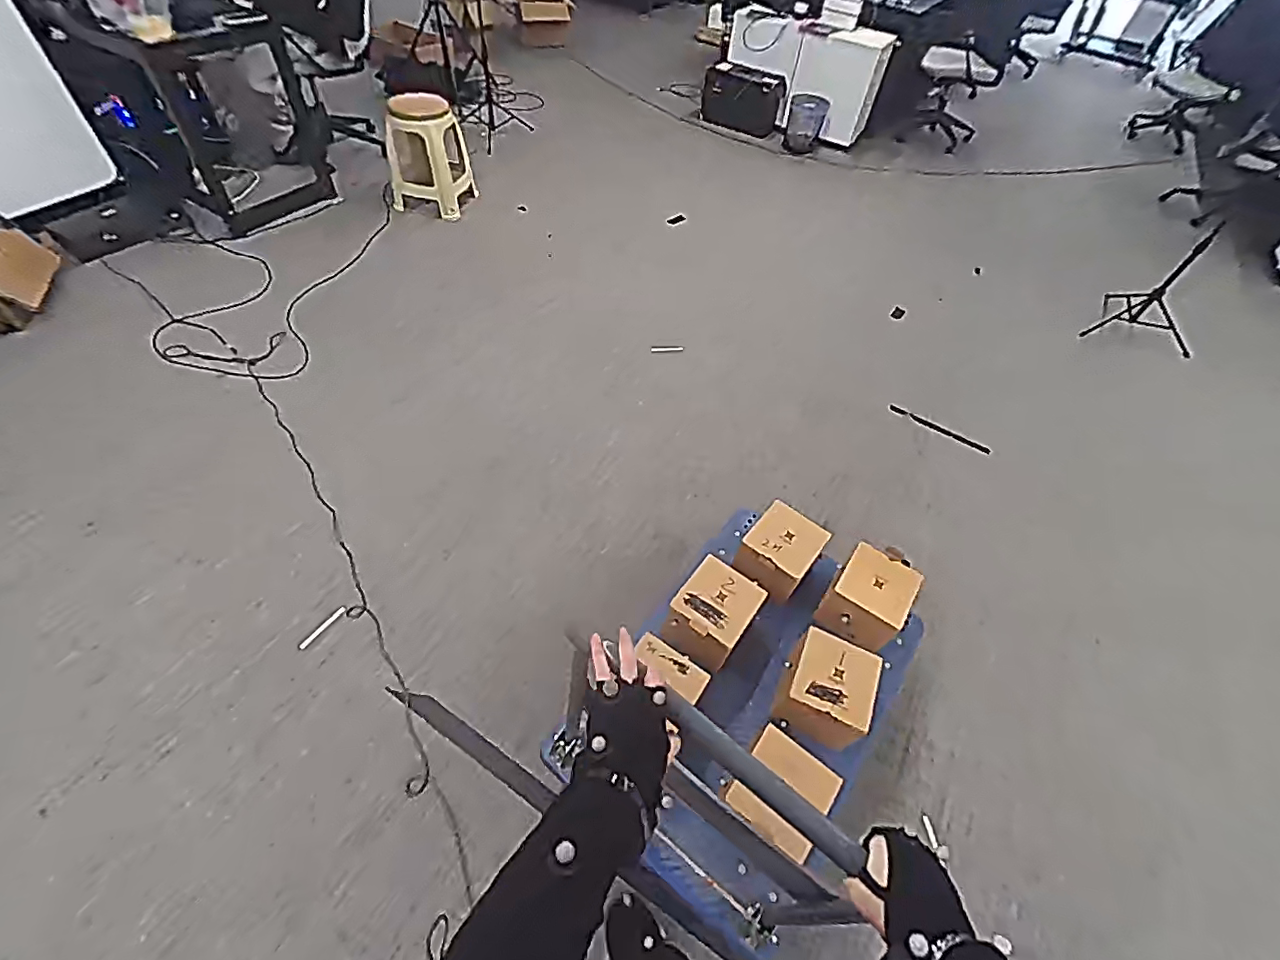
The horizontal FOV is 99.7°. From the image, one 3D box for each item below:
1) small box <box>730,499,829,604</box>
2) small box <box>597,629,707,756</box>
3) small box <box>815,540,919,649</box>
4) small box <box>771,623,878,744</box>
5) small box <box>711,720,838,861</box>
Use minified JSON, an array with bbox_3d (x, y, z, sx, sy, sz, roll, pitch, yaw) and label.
[{"bbox_3d":[0.357,0.190,1.418,0.168,0.176,0.179,36,58,20],"label":"small box"},{"bbox_3d":[0.022,0.464,1.170,0.168,0.176,0.179,32,56,16],"label":"small box"},{"bbox_3d":[0.562,0.293,1.362,0.168,0.176,0.179,32,56,18],"label":"small box"},{"bbox_3d":[0.407,0.462,1.215,0.168,0.176,0.179,24,53,12],"label":"small box"},{"bbox_3d":[0.258,0.622,1.078,0.168,0.176,0.179,35,56,19],"label":"small box"}]
